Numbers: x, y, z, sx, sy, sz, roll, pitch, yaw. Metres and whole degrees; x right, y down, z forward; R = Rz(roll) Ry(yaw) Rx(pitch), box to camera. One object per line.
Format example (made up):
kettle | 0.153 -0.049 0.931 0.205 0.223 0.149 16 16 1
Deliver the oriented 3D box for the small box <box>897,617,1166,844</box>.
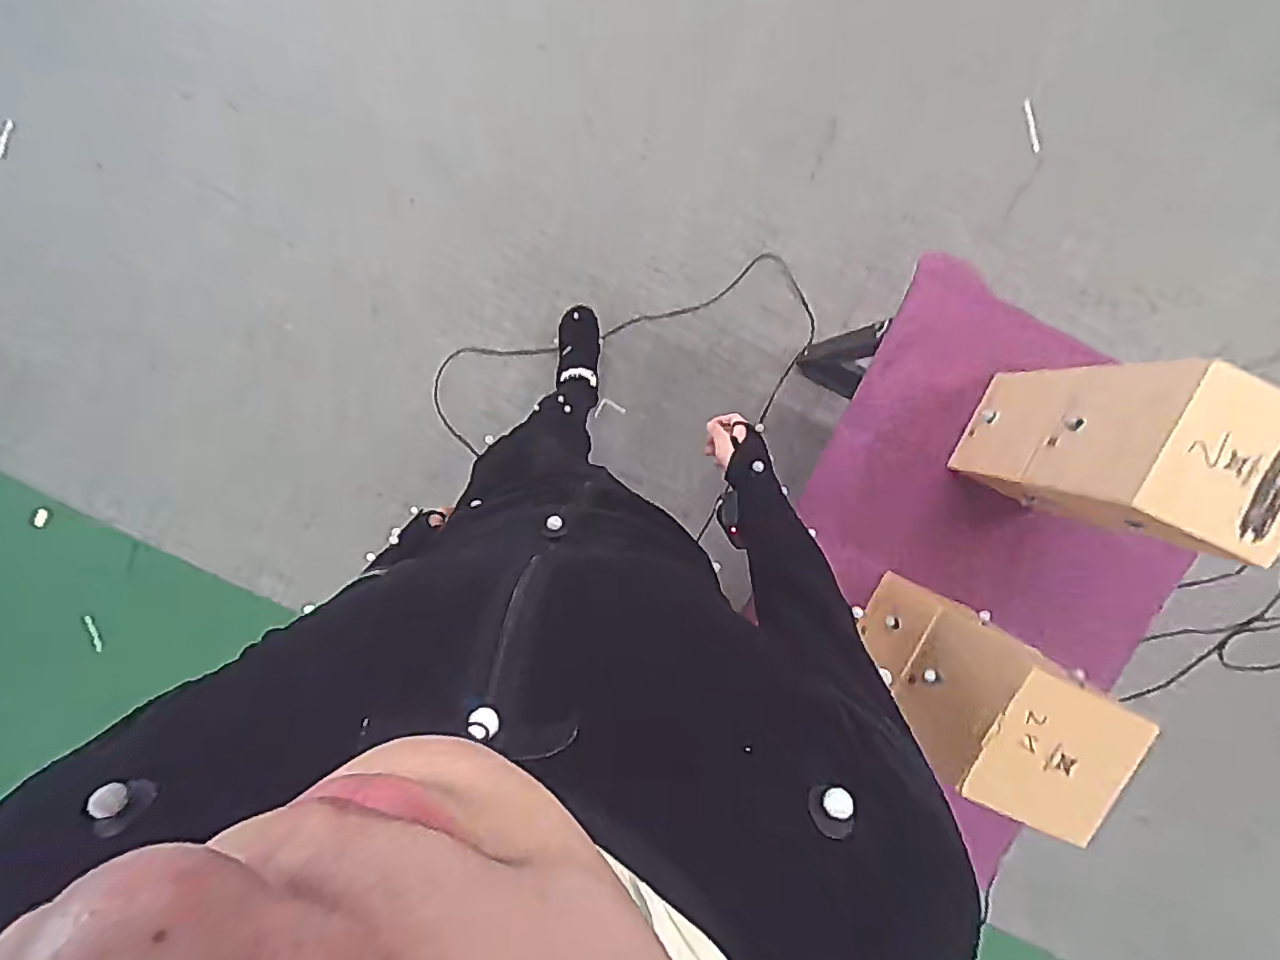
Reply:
small box | 0.469 0.297 0.678 0.179 0.176 0.168 25 95 -5

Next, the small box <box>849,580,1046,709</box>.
small box | 0.460 0.273 0.841 0.179 0.176 0.168 24 95 -5

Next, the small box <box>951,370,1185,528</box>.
small box | 0.614 -0.051 0.801 0.179 0.176 0.168 24 96 -4
